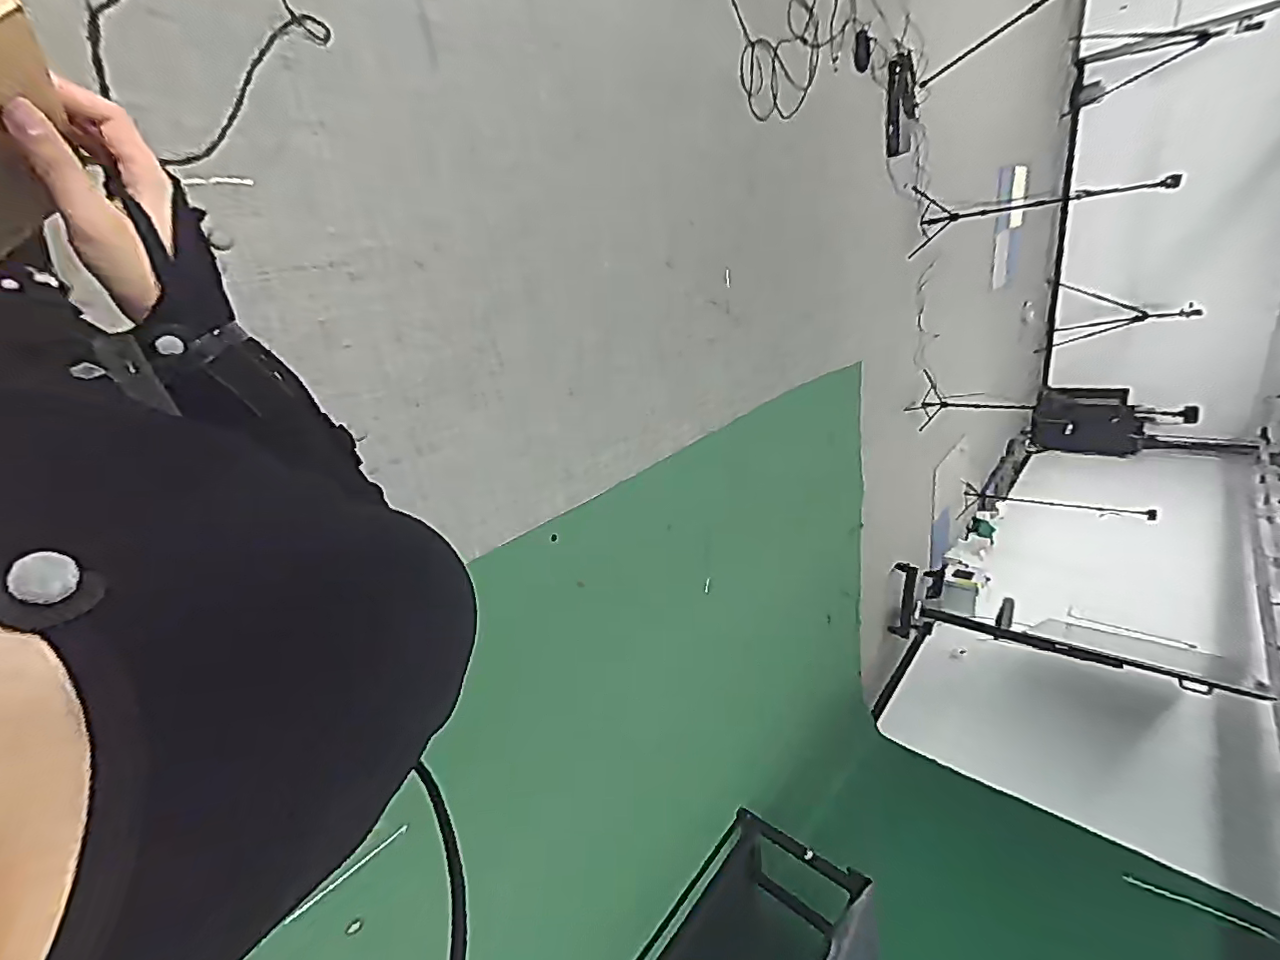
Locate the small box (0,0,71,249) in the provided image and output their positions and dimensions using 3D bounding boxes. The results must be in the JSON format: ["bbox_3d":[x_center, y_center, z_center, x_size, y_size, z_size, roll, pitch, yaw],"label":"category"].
[{"bbox_3d":[-0.395,-0.171,0.217,0.168,0.176,0.179,40,66,-31],"label":"small box"}]
